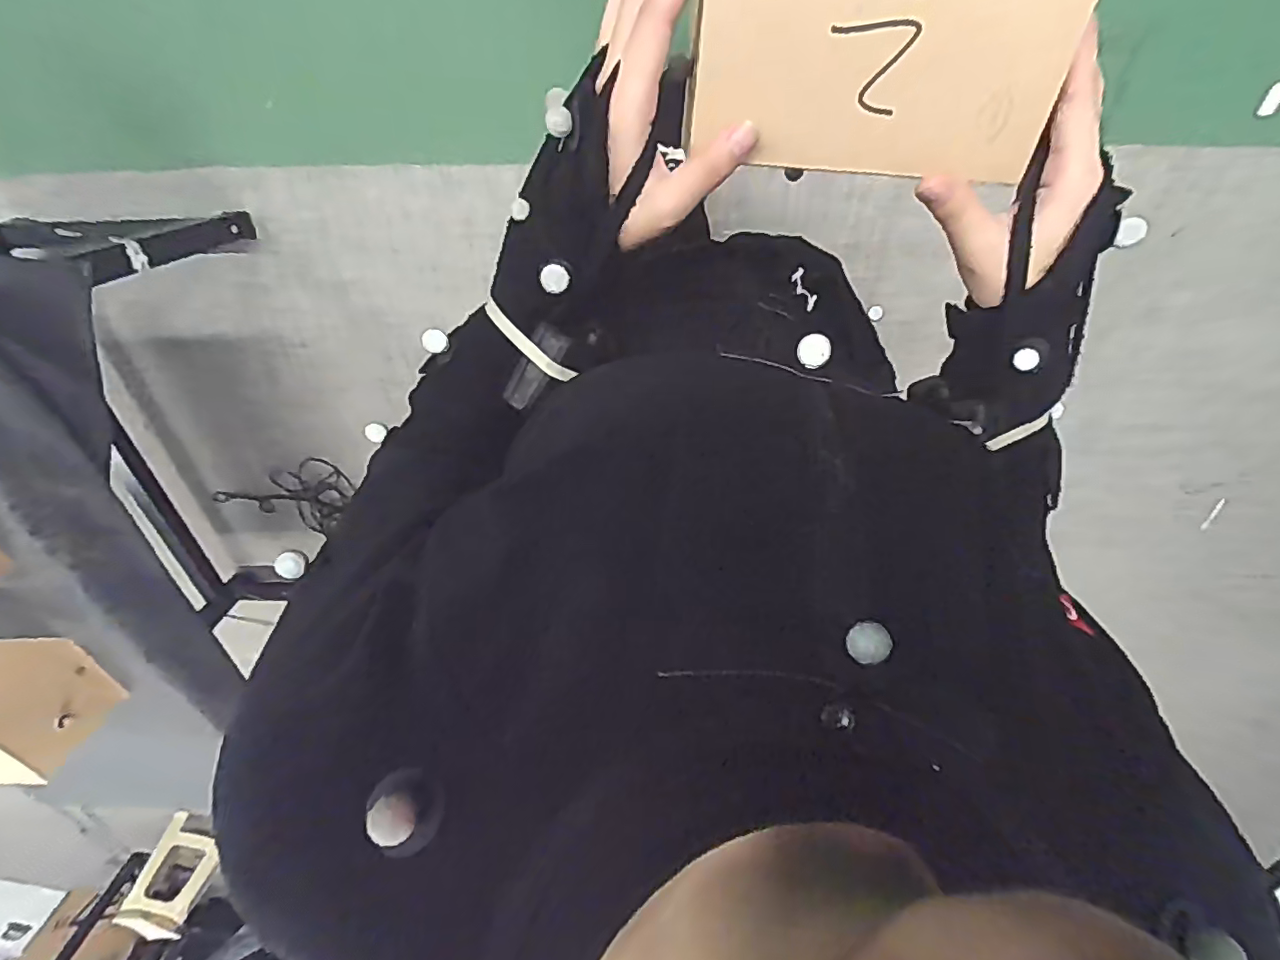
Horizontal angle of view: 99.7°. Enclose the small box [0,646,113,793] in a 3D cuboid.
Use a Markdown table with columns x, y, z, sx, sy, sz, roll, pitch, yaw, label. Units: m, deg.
| x | y | z | sx | sy | sz | roll | pitch | yaw | label |
| --- | --- | --- | --- | --- | --- | --- | --- | --- | --- |
| -1.043 | 0.391 | 0.892 | 0.179 | 0.176 | 0.168 | -4 | 125 | 7 | small box |
